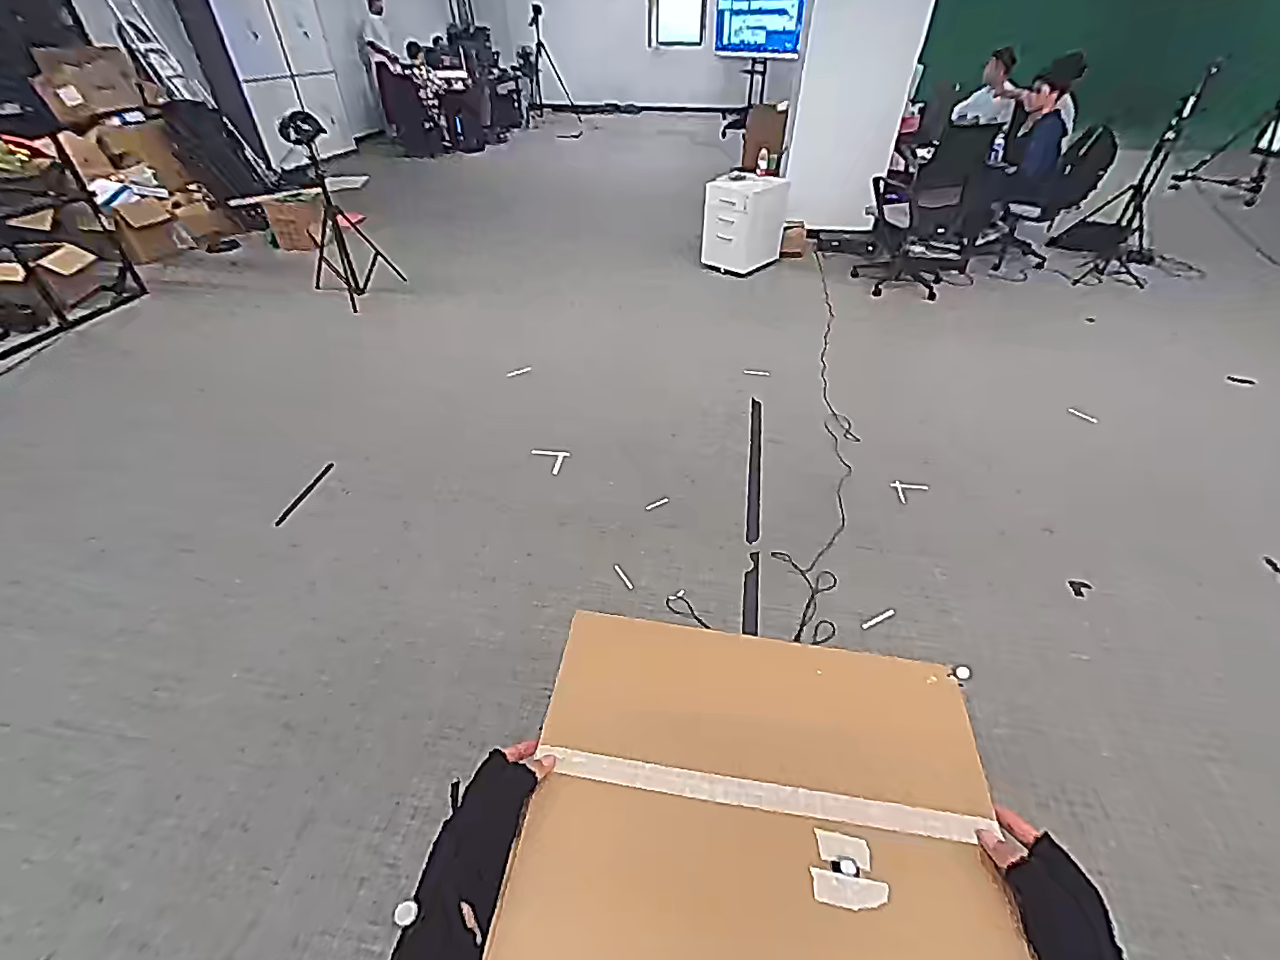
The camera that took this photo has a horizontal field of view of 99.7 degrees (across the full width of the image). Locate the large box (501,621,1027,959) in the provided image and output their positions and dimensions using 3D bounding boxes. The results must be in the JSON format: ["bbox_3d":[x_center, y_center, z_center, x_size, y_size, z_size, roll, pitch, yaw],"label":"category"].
[{"bbox_3d":[0.101,0.392,0.586,0.408,0.320,0.320,8,45,4],"label":"large box"}]
